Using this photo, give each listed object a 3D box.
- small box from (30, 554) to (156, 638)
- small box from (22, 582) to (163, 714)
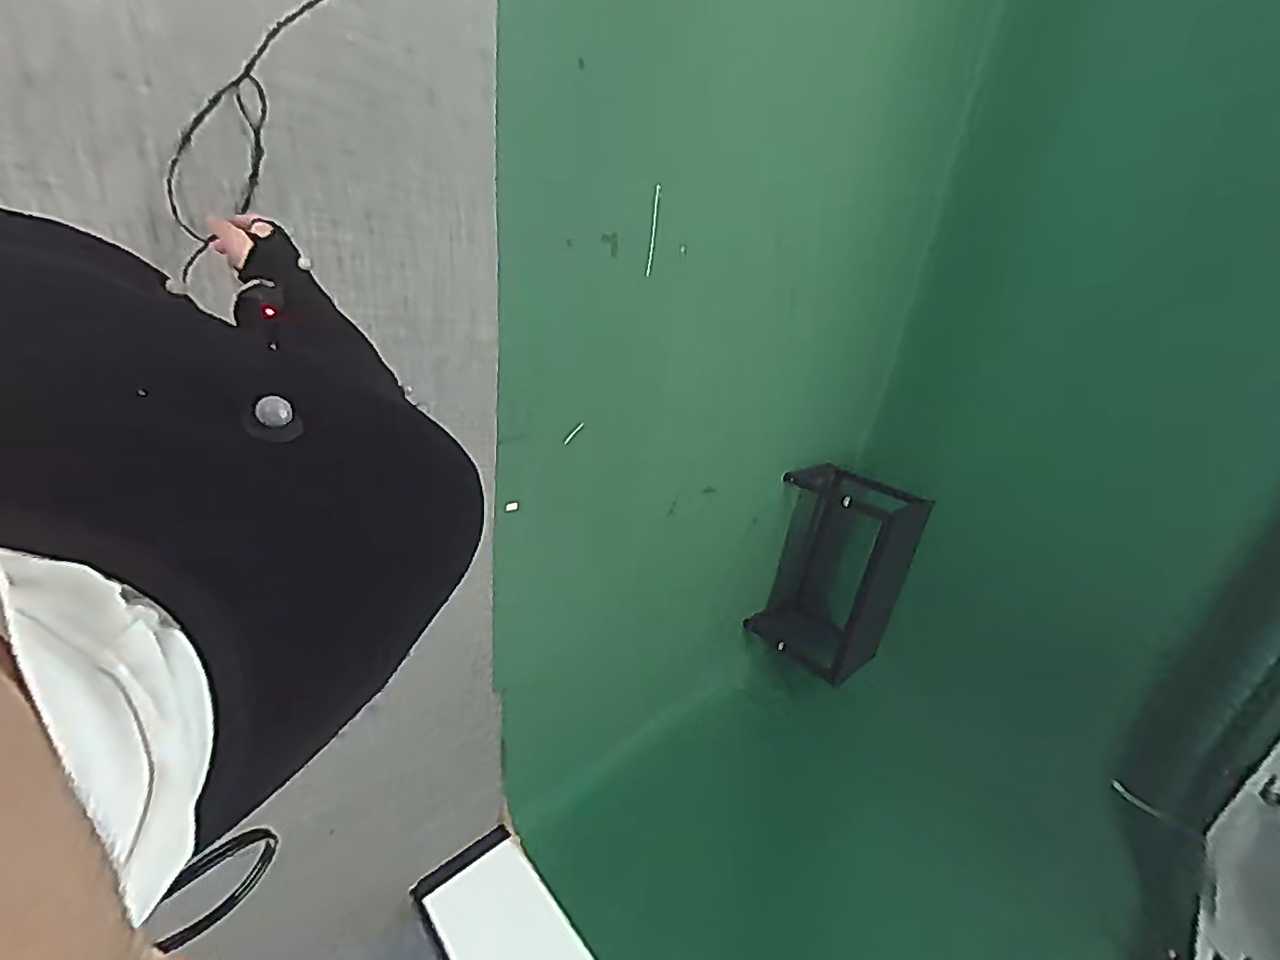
[{"bbox_3d":[-1.255,0.291,1.243,0.179,0.176,0.168,-14,121,-42],"label":"small box"},{"bbox_3d":[-1.144,0.342,1.137,0.179,0.176,0.168,-16,121,-42],"label":"small box"}]
